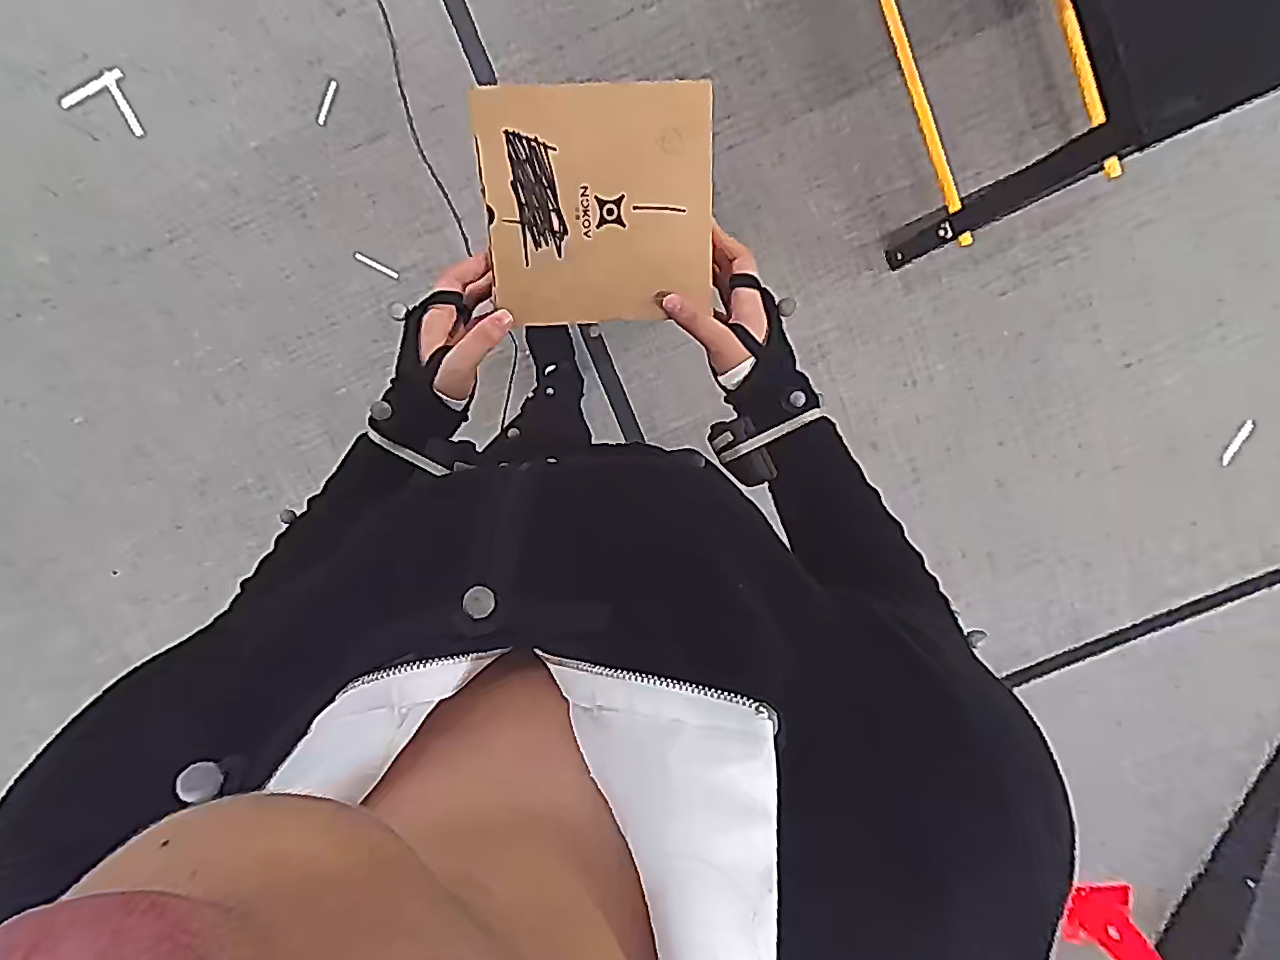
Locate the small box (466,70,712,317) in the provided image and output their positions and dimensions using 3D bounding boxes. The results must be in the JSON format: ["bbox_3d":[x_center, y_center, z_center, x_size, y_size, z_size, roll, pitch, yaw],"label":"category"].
[{"bbox_3d":[-0.037,-0.233,0.479,0.179,0.176,0.168,-3,109,-3],"label":"small box"}]
